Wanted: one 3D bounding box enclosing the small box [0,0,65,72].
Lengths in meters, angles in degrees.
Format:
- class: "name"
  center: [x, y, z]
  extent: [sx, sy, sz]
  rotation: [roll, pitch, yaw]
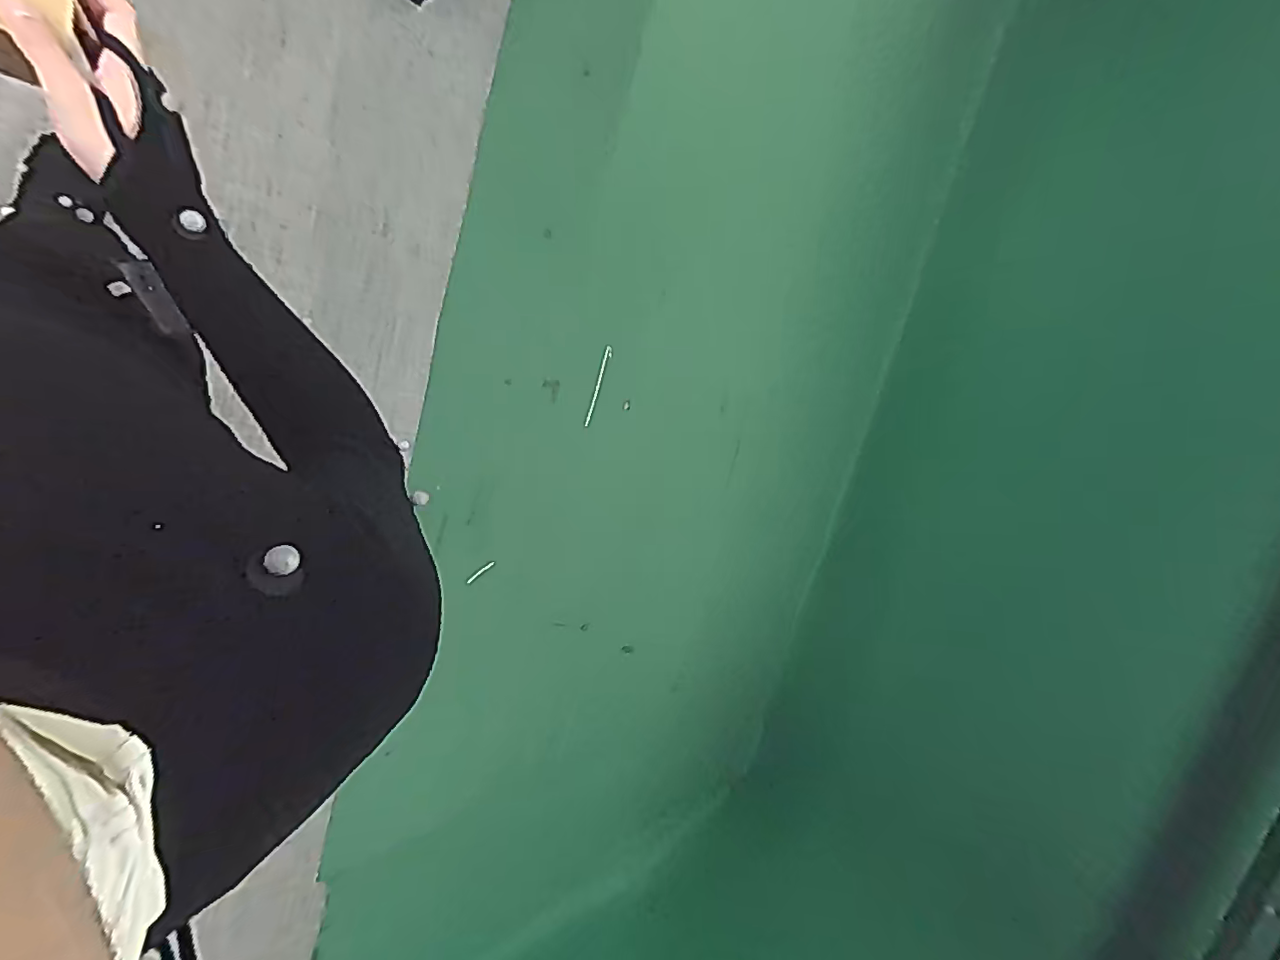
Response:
- class: "small box"
  center: [-0.489, -0.410, 0.347]
  extent: [0.168, 0.176, 0.179]
  rotation: [2, 108, -47]
